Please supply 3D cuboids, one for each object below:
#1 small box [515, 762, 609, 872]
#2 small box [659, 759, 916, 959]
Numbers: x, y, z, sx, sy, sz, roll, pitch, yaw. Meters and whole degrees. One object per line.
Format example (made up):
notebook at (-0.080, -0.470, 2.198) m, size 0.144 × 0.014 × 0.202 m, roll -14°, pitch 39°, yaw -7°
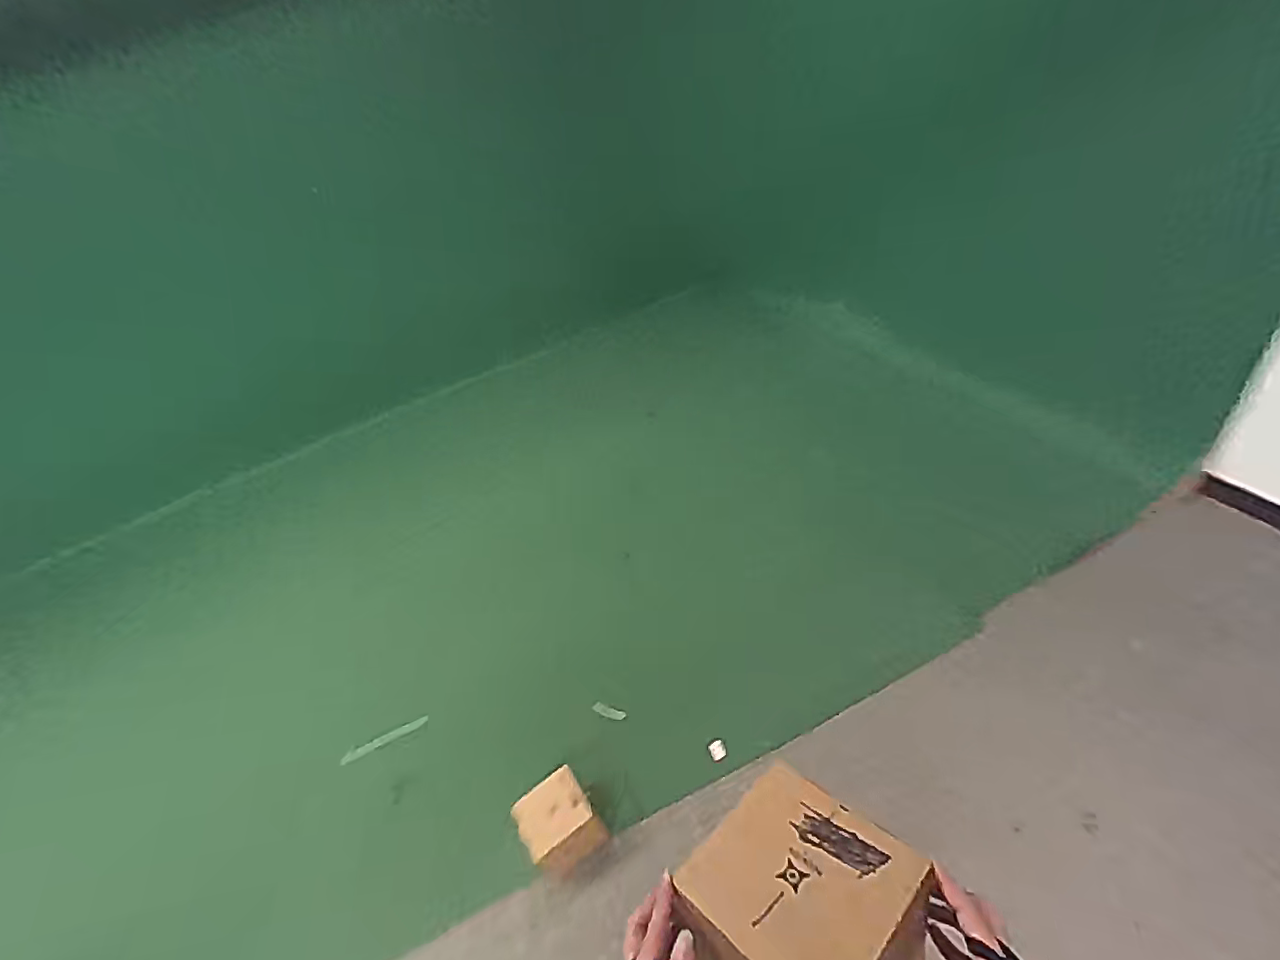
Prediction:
small box at (-0.211, 0.928, 1.484) m, size 0.179 × 0.176 × 0.168 m, roll -32°, pitch 42°, yaw -15°
small box at (0.142, 0.426, 0.519) m, size 0.179 × 0.176 × 0.168 m, roll -27°, pitch 27°, yaw -36°
